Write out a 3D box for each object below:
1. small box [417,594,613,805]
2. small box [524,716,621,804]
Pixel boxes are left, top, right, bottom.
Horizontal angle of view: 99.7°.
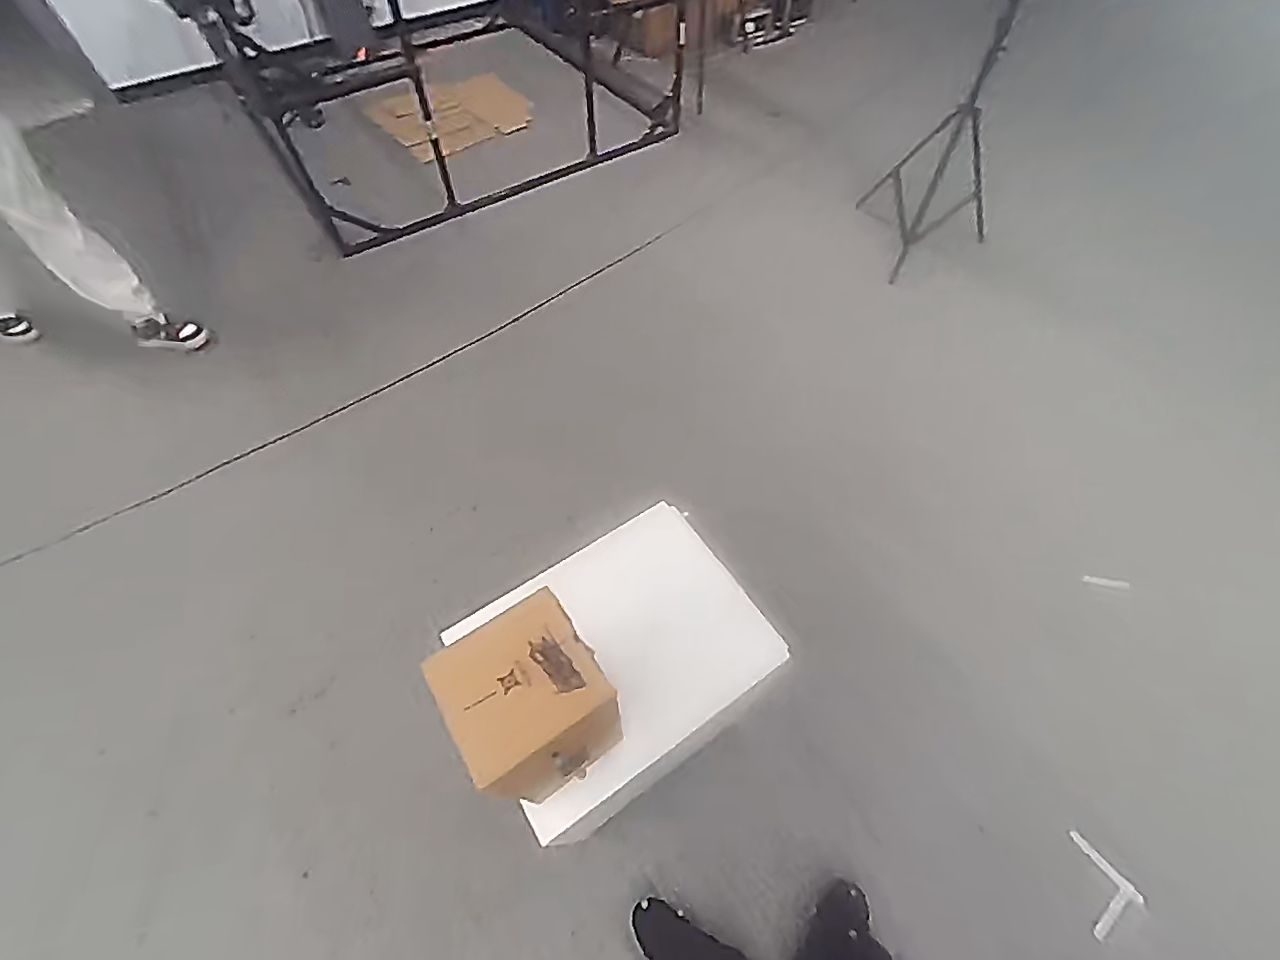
[{"bbox_3d":[-0.146,0.283,0.691,0.179,0.176,0.168,-31,61,-17],"label":"small box"},{"bbox_3d":[-0.145,0.368,0.832,0.168,0.176,0.179,-32,62,-17],"label":"small box"}]
